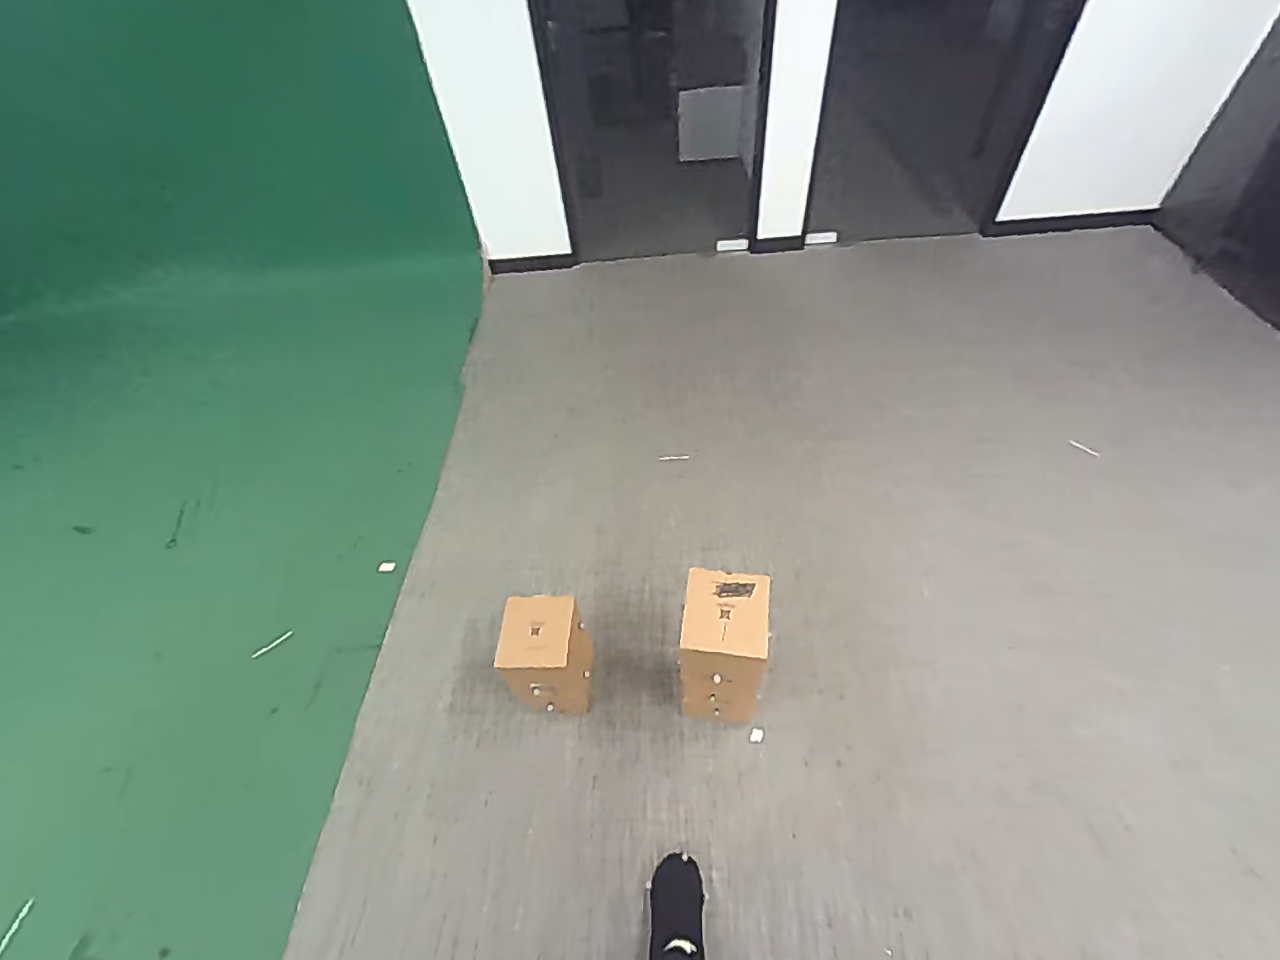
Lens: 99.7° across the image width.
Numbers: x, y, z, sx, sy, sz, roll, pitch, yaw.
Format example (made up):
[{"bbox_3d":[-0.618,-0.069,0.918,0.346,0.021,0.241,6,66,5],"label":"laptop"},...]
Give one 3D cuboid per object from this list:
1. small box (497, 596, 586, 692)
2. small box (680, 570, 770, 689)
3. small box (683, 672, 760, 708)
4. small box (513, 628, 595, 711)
[{"bbox_3d":[-0.227,0.397,1.305,0.168,0.176,0.179,-3,52,5],"label":"small box"},{"bbox_3d":[0.175,0.311,1.123,0.168,0.176,0.179,5,53,10],"label":"small box"},{"bbox_3d":[0.188,0.407,1.256,0.168,0.176,0.179,4,52,9],"label":"small box"},{"bbox_3d":[-0.218,0.499,1.432,0.168,0.176,0.179,1,52,6],"label":"small box"}]
